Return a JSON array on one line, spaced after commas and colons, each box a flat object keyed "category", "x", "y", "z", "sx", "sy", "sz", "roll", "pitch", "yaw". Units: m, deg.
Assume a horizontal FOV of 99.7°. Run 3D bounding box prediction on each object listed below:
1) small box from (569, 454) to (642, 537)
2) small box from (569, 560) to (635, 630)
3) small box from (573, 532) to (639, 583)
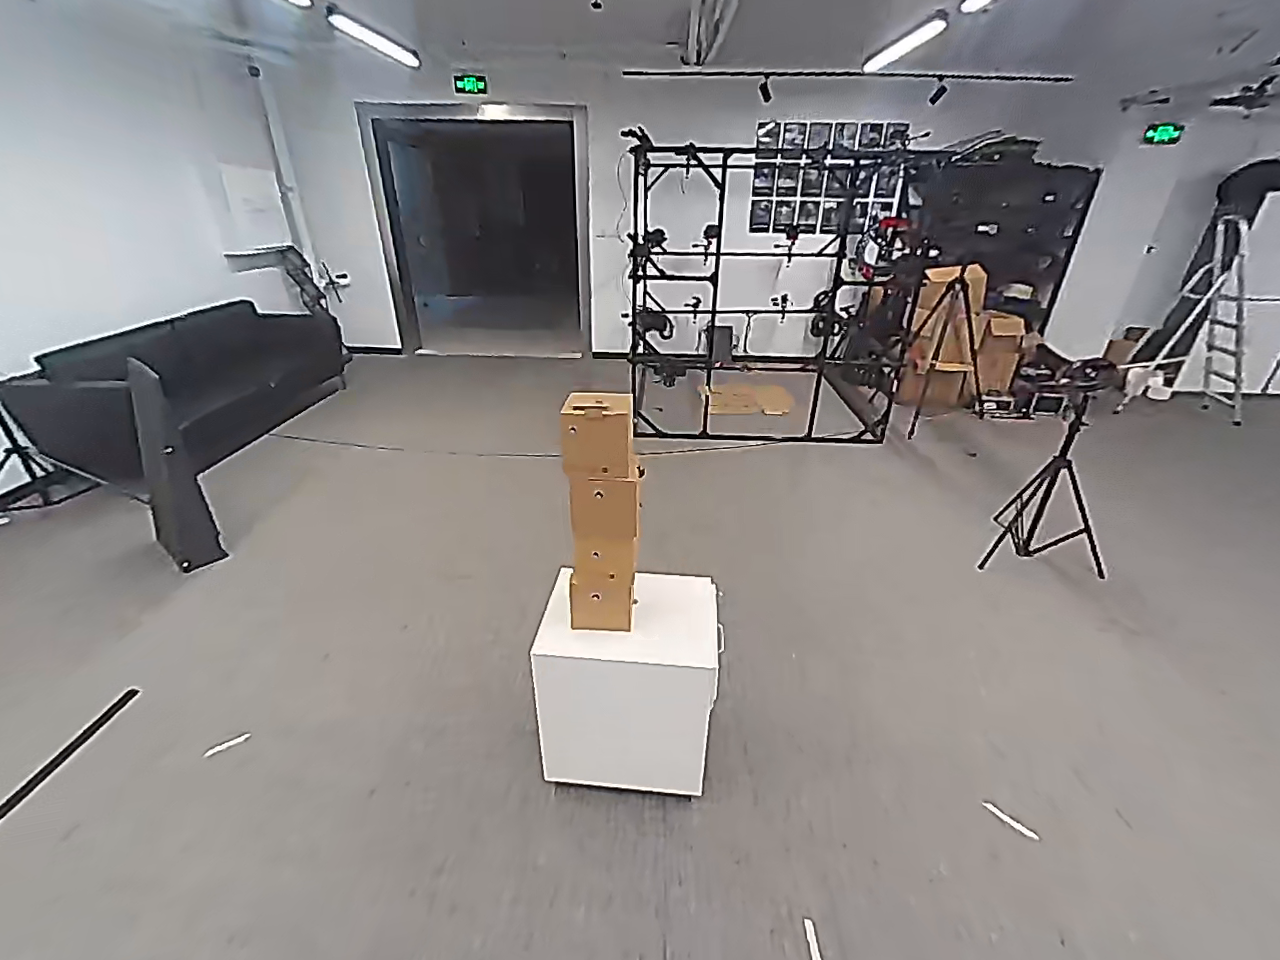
[{"category": "small box", "x": -0.088, "y": 0.040, "z": 1.456, "sx": 0.179, "sy": 0.176, "sz": 0.168, "roll": 3, "pitch": 27, "yaw": 3}, {"category": "small box", "x": -0.108, "y": 0.328, "z": 1.610, "sx": 0.179, "sy": 0.176, "sz": 0.168, "roll": 3, "pitch": 28, "yaw": 2}, {"category": "small box", "x": -0.091, "y": 0.178, "z": 1.548, "sx": 0.168, "sy": 0.176, "sz": 0.179, "roll": 3, "pitch": 26, "yaw": 3}]
